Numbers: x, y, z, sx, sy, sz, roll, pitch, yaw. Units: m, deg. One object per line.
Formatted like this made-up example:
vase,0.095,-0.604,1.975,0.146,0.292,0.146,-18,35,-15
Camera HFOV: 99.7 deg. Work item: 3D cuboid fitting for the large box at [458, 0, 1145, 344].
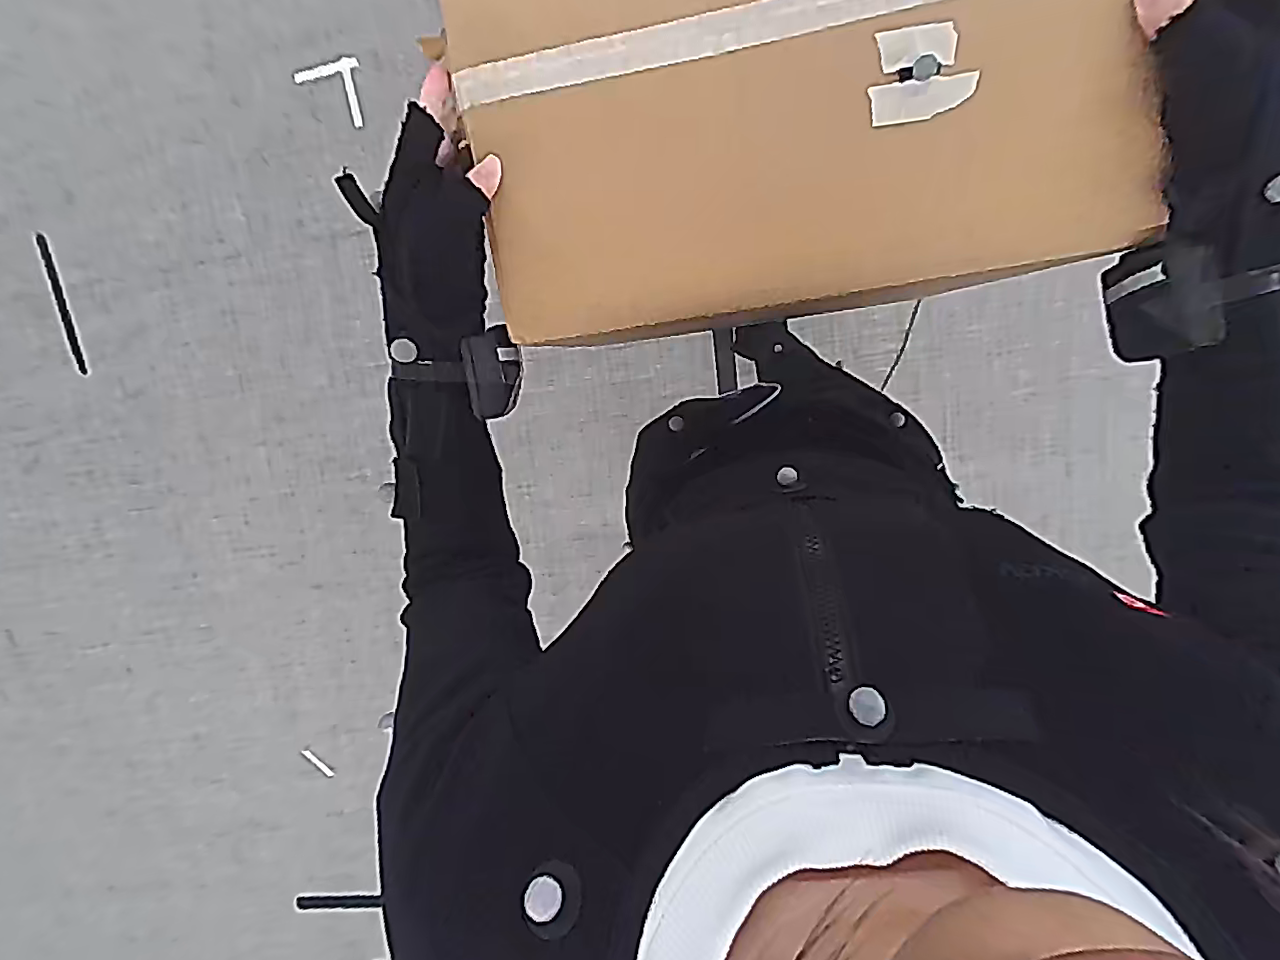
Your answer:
large box,0.099,-0.309,0.471,0.408,0.320,0.320,-8,103,6
